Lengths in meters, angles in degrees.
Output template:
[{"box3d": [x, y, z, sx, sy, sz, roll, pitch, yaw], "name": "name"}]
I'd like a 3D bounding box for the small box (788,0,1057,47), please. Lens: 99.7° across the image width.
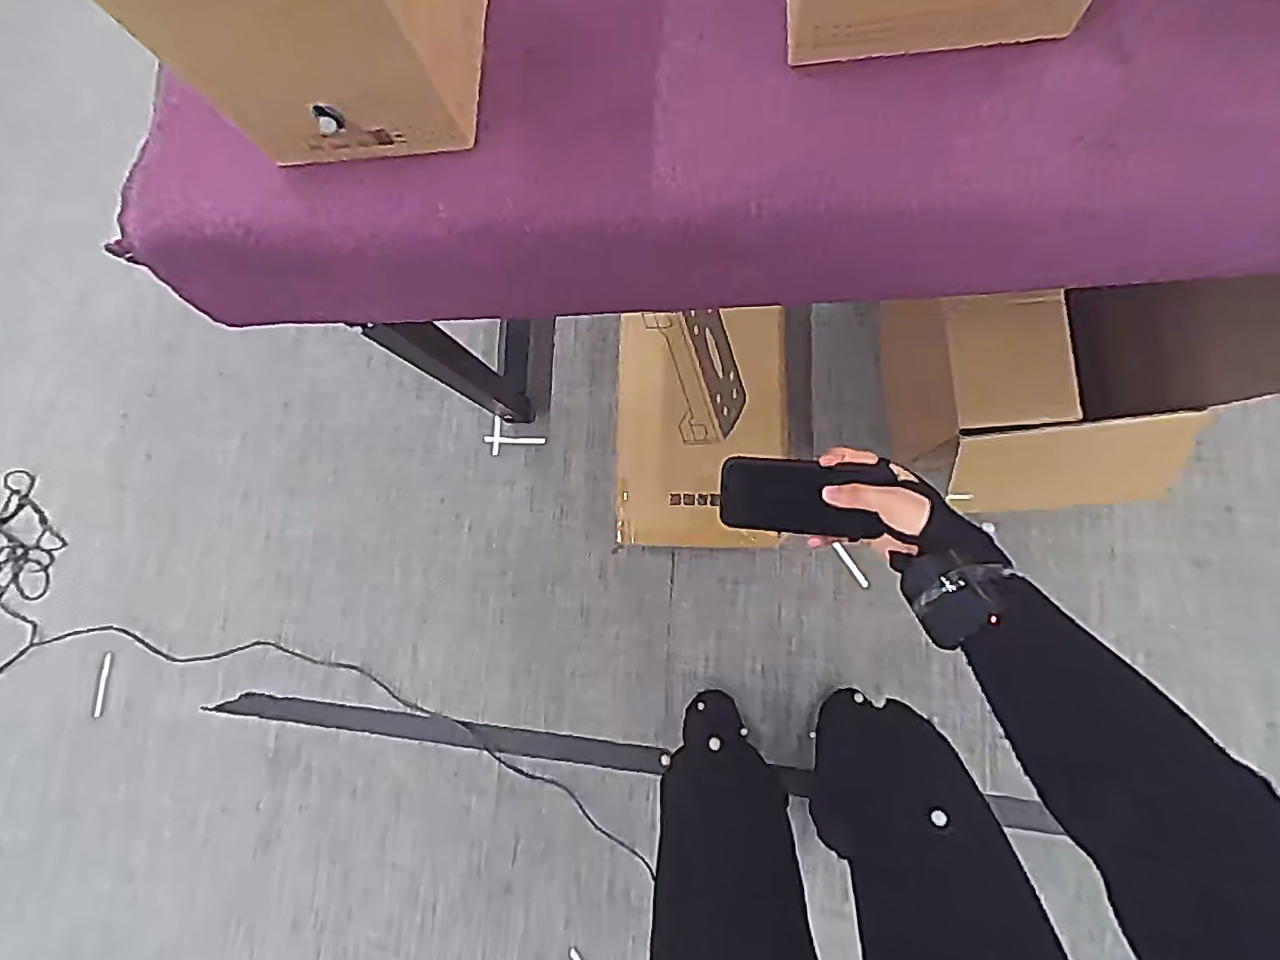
[{"box3d": [0.178, -0.379, 0.285, 0.179, 0.176, 0.168, 0, 80, 9], "name": "small box"}]
